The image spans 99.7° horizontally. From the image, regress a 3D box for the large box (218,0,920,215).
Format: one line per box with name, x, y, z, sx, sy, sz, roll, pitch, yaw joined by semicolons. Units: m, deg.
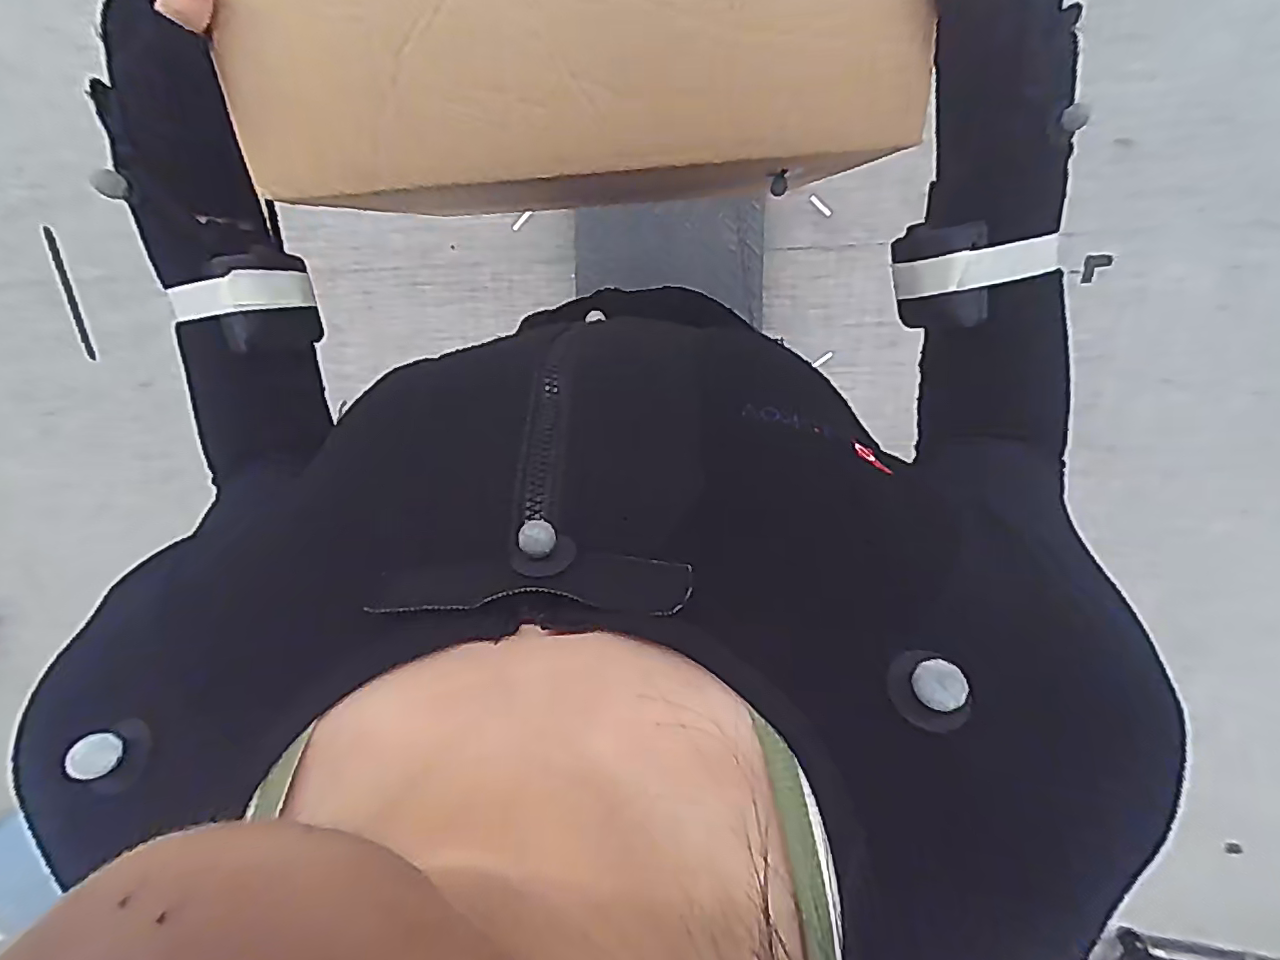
large box;-0.041;-0.393;0.415;0.408;0.320;0.320;-3;113;3
